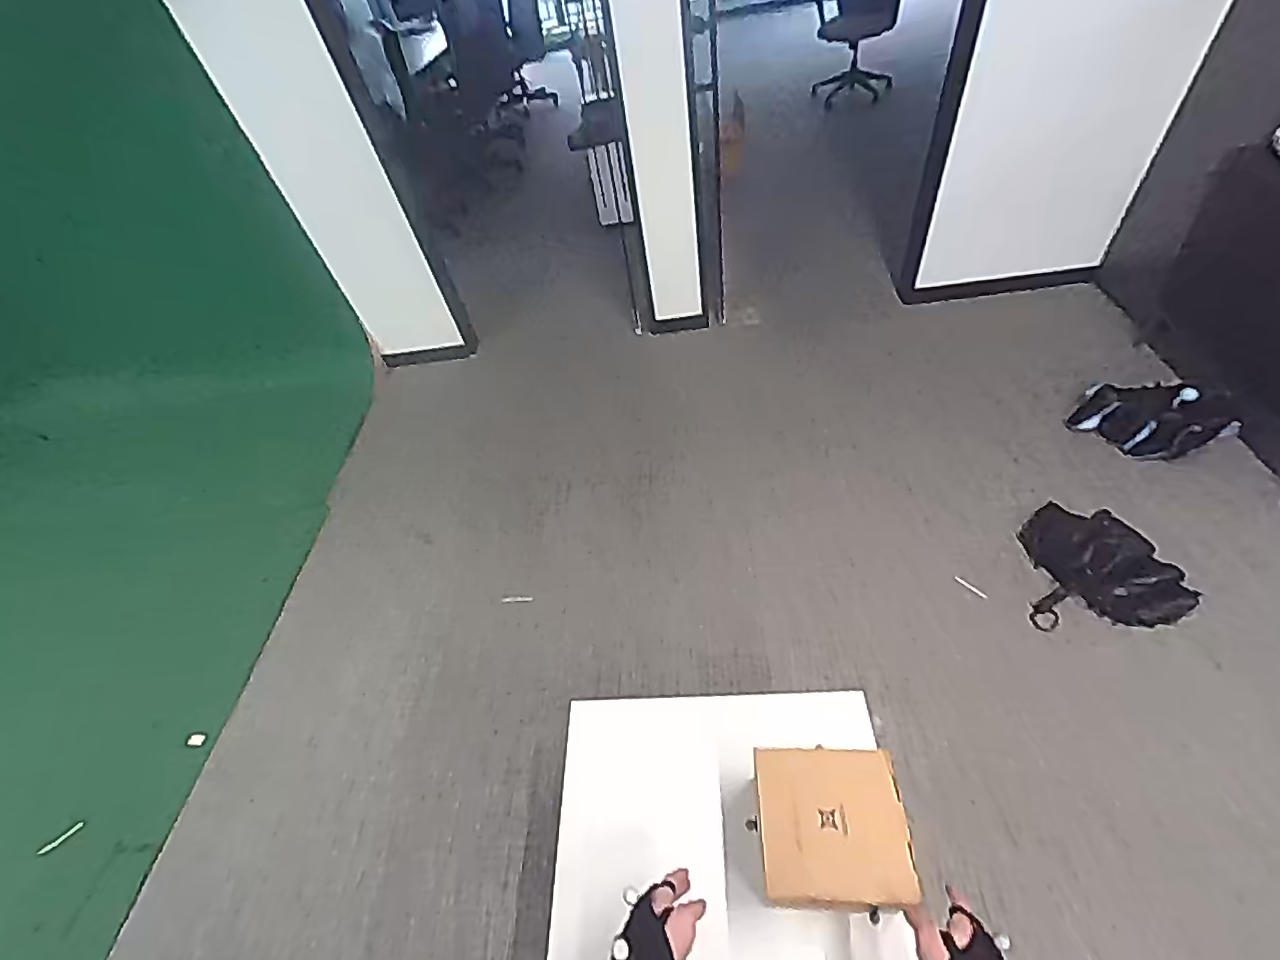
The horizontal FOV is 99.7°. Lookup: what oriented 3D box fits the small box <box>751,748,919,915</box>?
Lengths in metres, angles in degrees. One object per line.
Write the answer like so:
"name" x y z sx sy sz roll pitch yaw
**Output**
"small box" 0.243 0.471 0.724 0.179 0.176 0.168 -5 48 9
